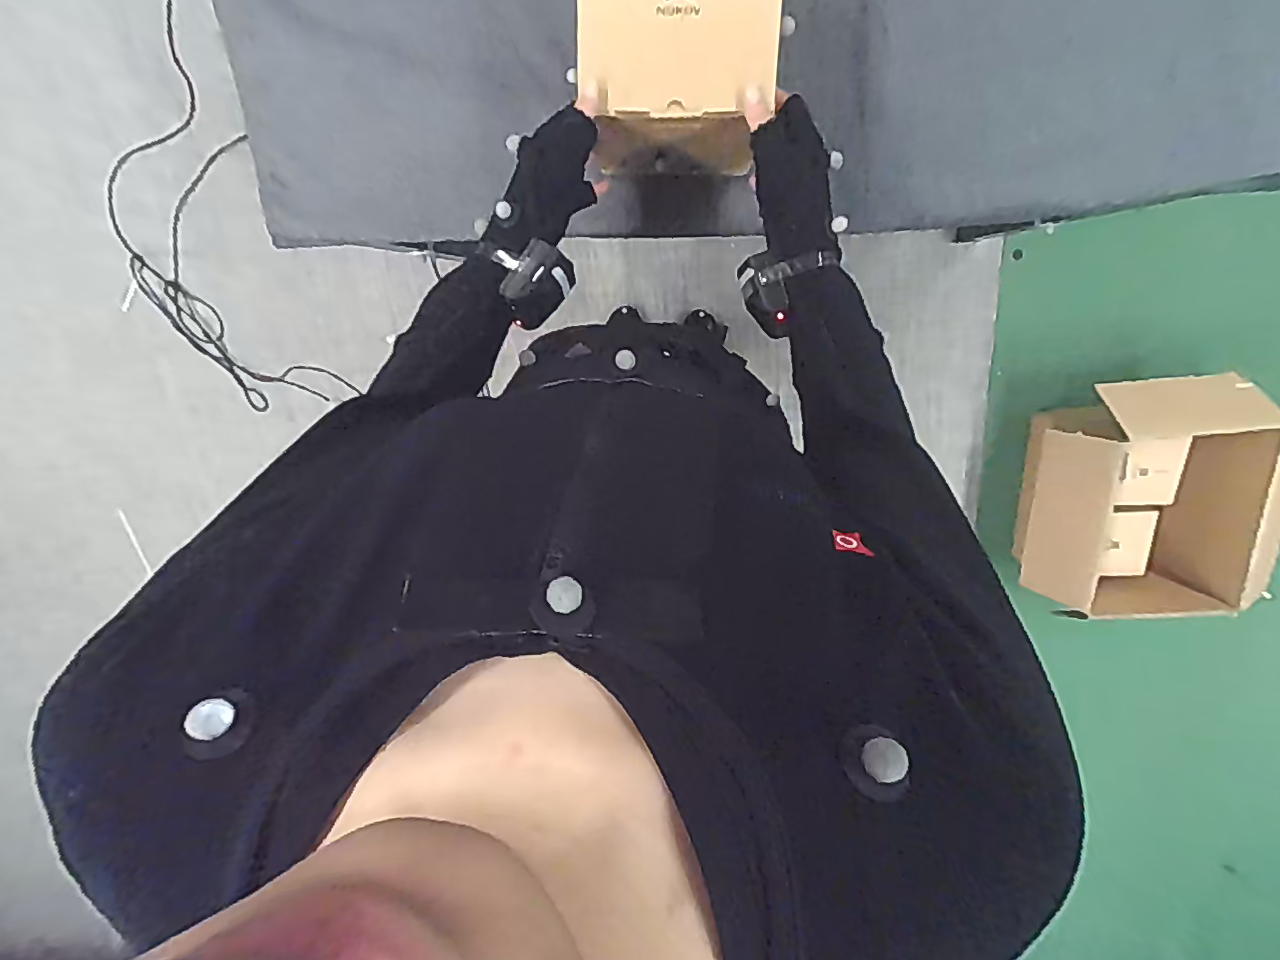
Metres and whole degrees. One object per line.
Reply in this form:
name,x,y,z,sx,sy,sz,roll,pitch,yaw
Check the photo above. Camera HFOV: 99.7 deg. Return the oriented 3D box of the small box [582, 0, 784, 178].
small box,0.037,-0.409,0.512,0.168,0.176,0.179,2,105,2
